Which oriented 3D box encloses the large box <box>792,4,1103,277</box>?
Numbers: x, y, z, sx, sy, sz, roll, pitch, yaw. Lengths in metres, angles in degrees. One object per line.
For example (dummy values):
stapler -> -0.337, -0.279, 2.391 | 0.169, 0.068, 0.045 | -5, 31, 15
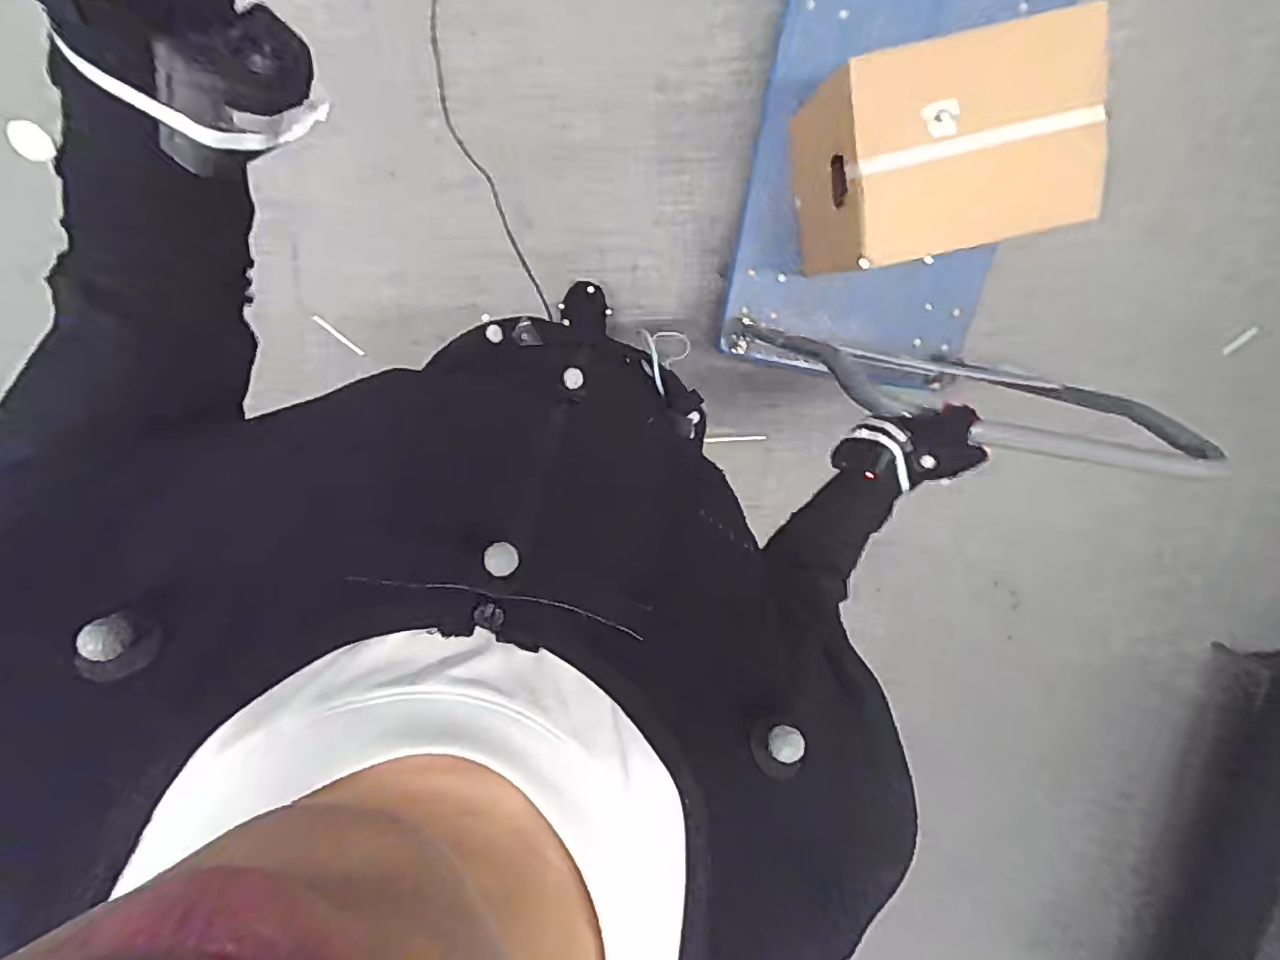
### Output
large box -> 0.542, -0.590, 1.019 | 0.408, 0.320, 0.320 | -12, 108, 2
